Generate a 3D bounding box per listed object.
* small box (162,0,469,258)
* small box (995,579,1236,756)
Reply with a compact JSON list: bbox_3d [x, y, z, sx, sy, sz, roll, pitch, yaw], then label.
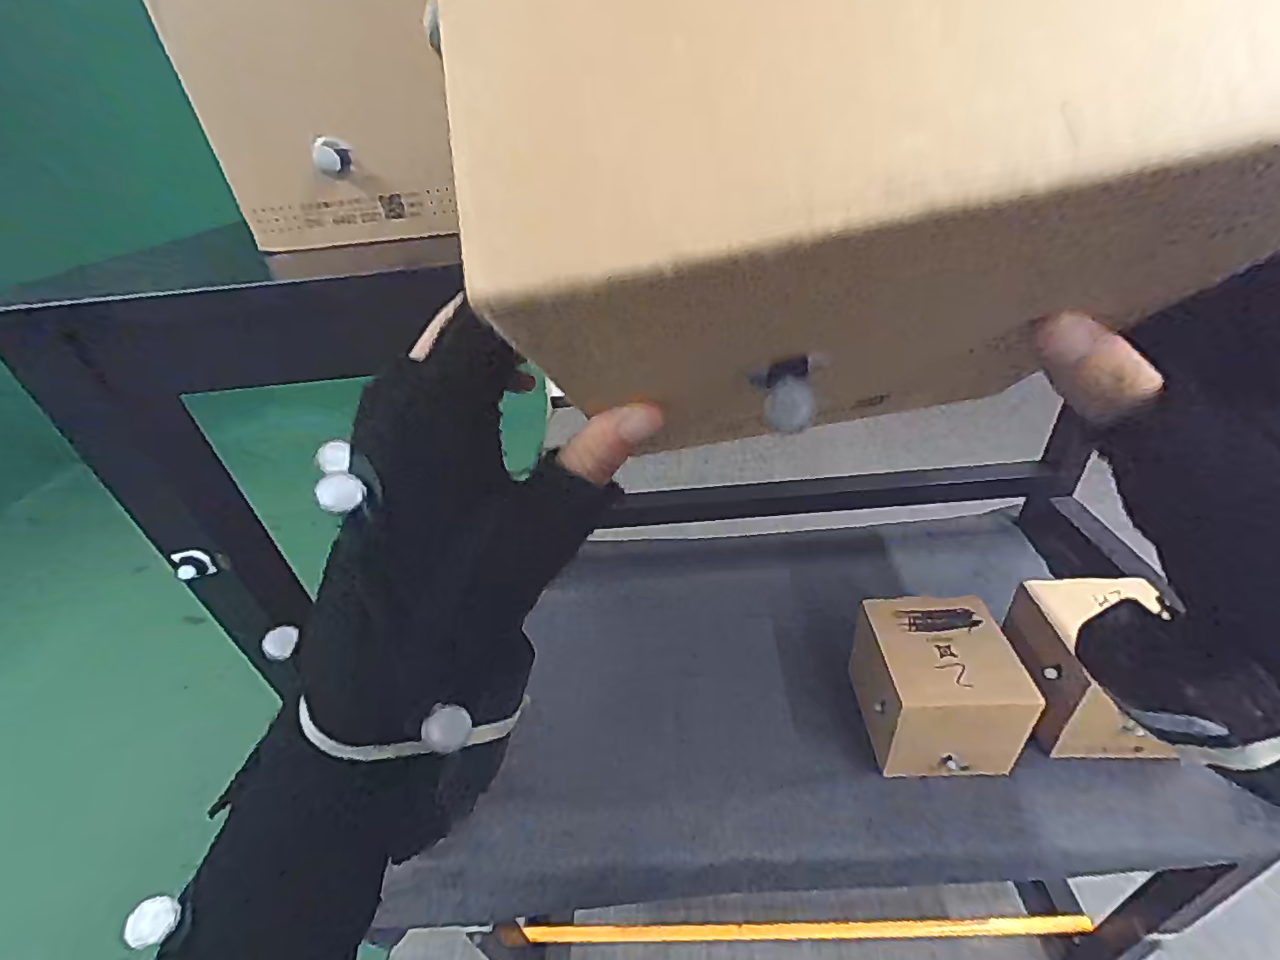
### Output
[{"bbox_3d":[-0.183,-0.270,0.394,0.168,0.176,0.179,-4,35,5],"label":"small box"},{"bbox_3d":[0.638,0.262,0.756,0.168,0.176,0.179,-3,34,7],"label":"small box"}]
